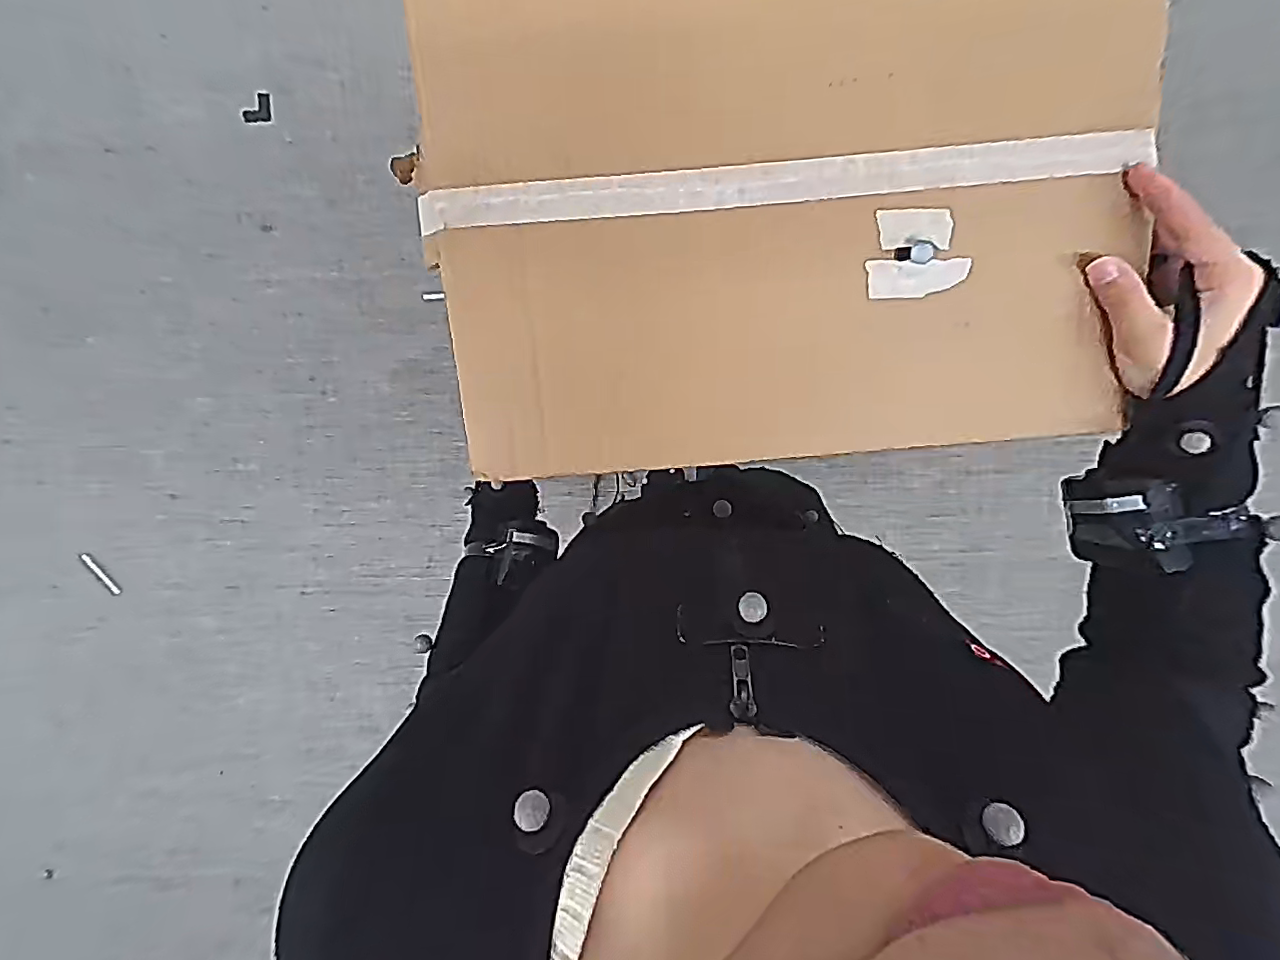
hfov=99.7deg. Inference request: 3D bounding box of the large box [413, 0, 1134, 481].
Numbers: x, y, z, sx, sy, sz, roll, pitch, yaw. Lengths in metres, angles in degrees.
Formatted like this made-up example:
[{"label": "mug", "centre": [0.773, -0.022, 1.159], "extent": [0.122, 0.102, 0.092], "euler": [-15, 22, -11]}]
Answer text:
[{"label": "large box", "centre": [0.079, -0.195, 0.462], "extent": [0.408, 0.320, 0.320], "euler": [-6, 101, -1]}]
